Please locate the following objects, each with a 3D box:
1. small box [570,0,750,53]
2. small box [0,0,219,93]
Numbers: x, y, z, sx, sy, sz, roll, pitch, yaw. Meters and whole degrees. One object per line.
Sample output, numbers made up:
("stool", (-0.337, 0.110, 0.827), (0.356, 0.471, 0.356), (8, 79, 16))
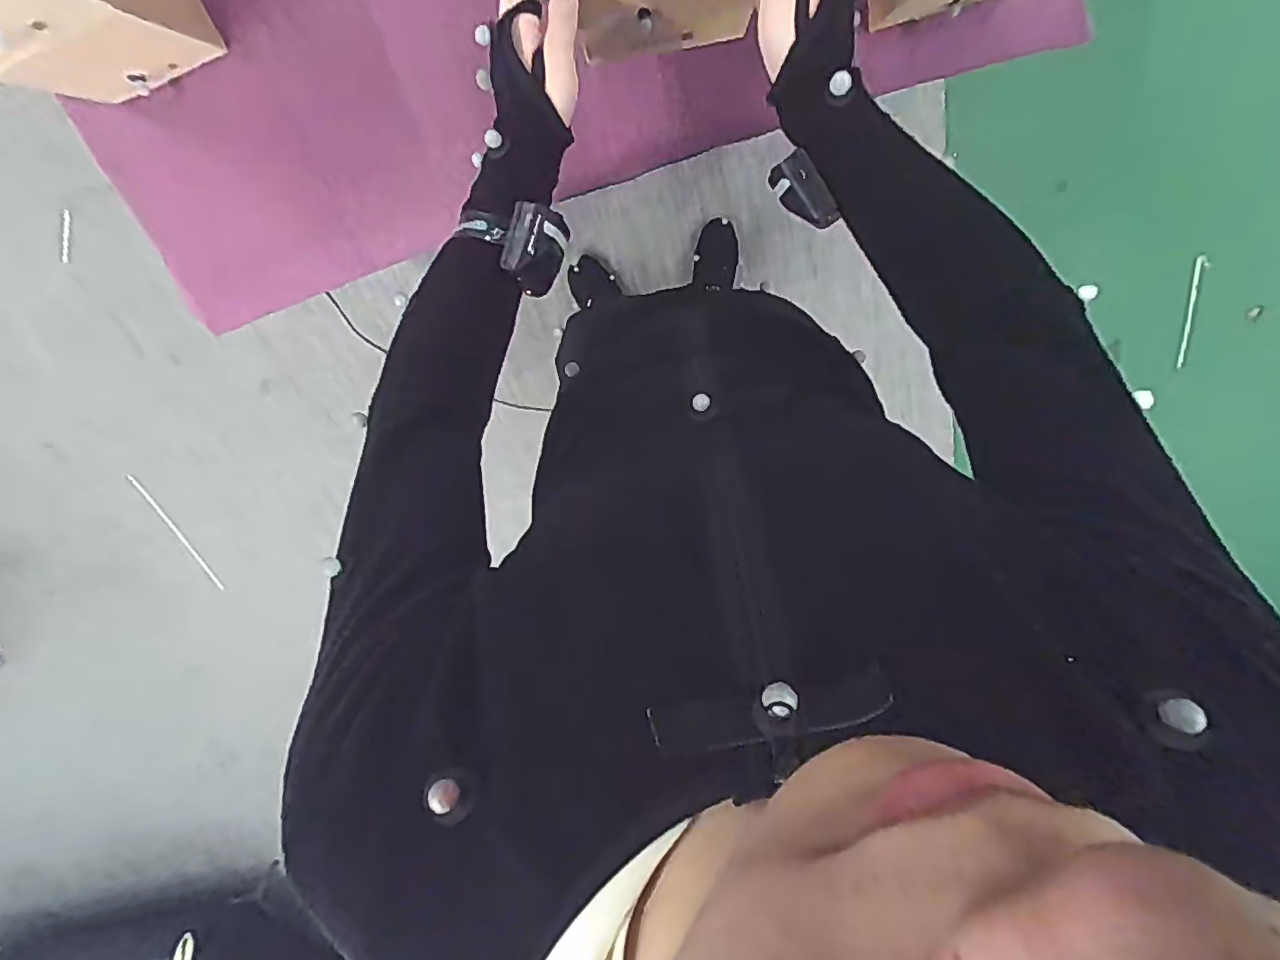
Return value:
("small box", (0.013, -0.503, 0.463), (0.168, 0.176, 0.179), (-7, 109, 4))
("small box", (-0.600, -0.535, 0.550), (0.168, 0.176, 0.179), (-17, 117, 9))
